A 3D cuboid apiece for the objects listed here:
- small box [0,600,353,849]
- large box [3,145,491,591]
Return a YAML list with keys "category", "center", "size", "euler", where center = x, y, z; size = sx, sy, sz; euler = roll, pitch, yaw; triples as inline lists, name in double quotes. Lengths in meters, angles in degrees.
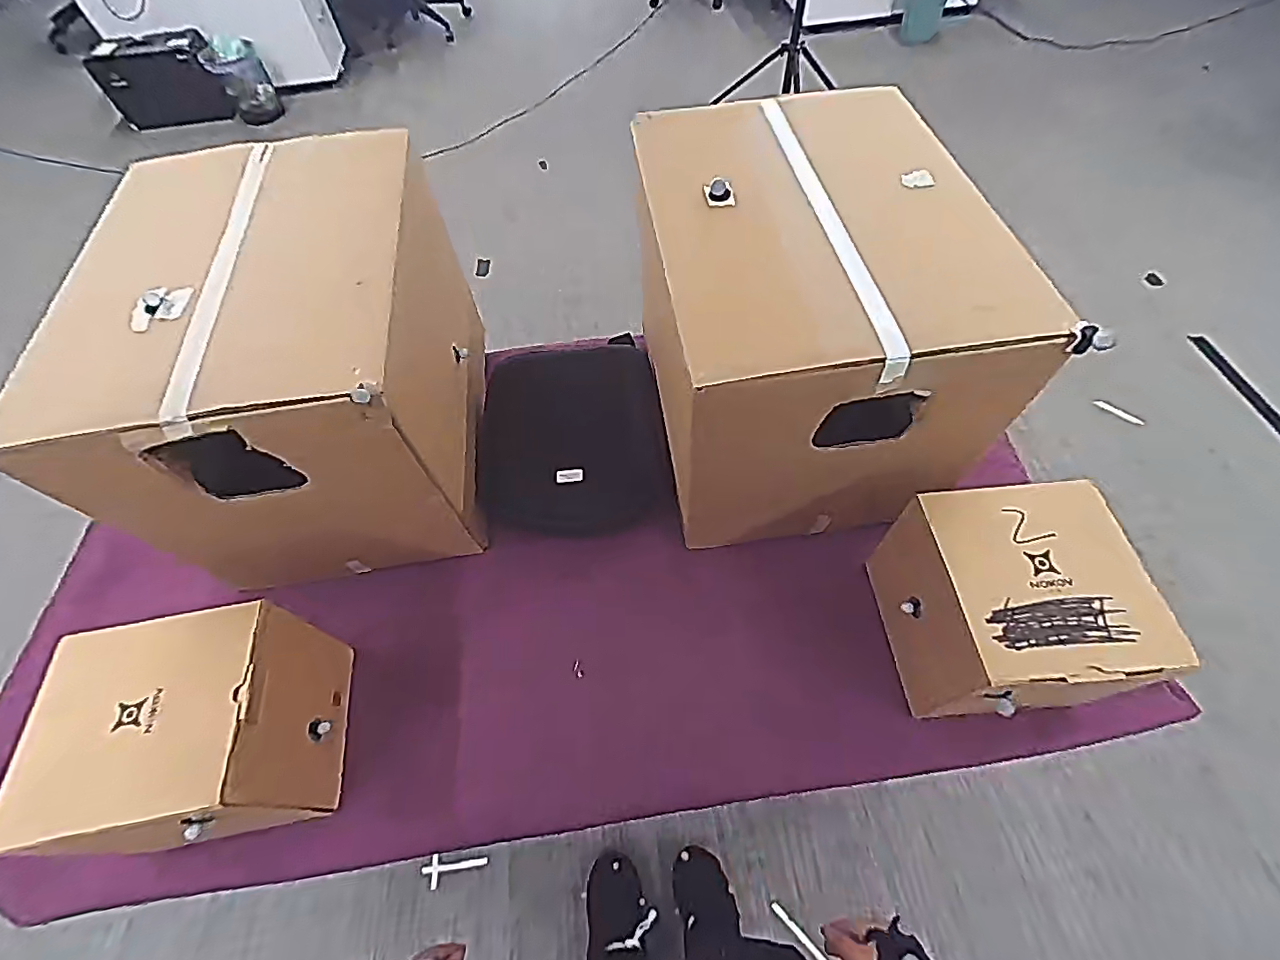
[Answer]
- category: "small box"
  center: [-0.406, 0.235, 0.511]
  size: [0.179, 0.176, 0.168]
  euler: [-11, 57, -5]
- category: "large box"
  center: [-0.379, -0.126, 0.653]
  size: [0.320, 0.320, 0.408]
  euler: [-10, 60, -3]
